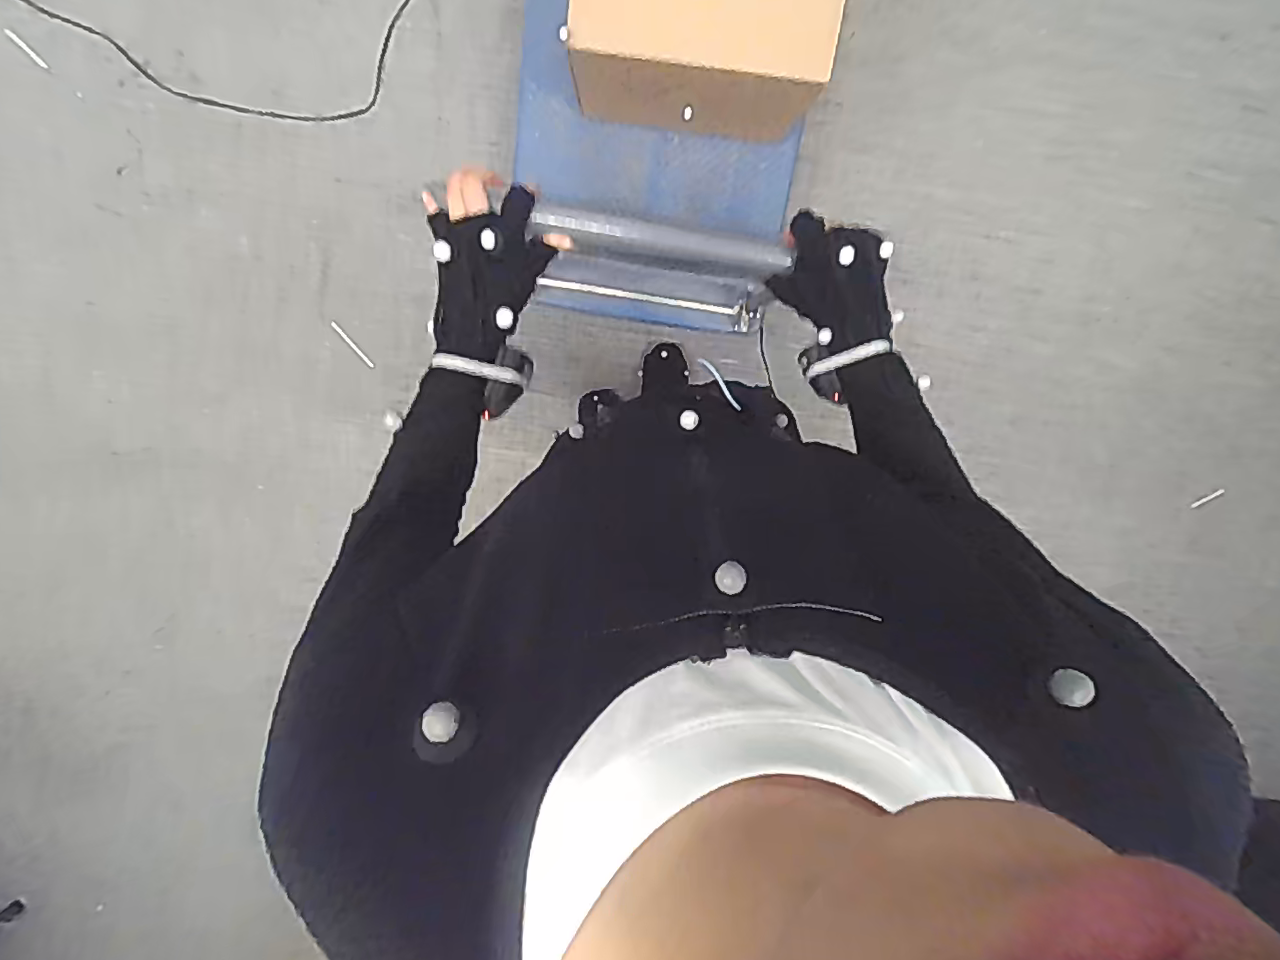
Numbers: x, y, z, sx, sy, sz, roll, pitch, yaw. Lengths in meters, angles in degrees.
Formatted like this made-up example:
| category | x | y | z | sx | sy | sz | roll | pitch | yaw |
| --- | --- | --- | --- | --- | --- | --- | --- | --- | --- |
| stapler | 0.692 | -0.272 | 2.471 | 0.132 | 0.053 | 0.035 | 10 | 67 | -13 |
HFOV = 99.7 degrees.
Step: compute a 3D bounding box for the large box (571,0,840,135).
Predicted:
| category | x | y | z | sx | sy | sz | roll | pitch | yaw |
| --- | --- | --- | --- | --- | --- | --- | --- | --- | --- |
| large box | 0.106 | -0.826 | 0.922 | 0.408 | 0.320 | 0.320 | 6 | 105 | -3 |
